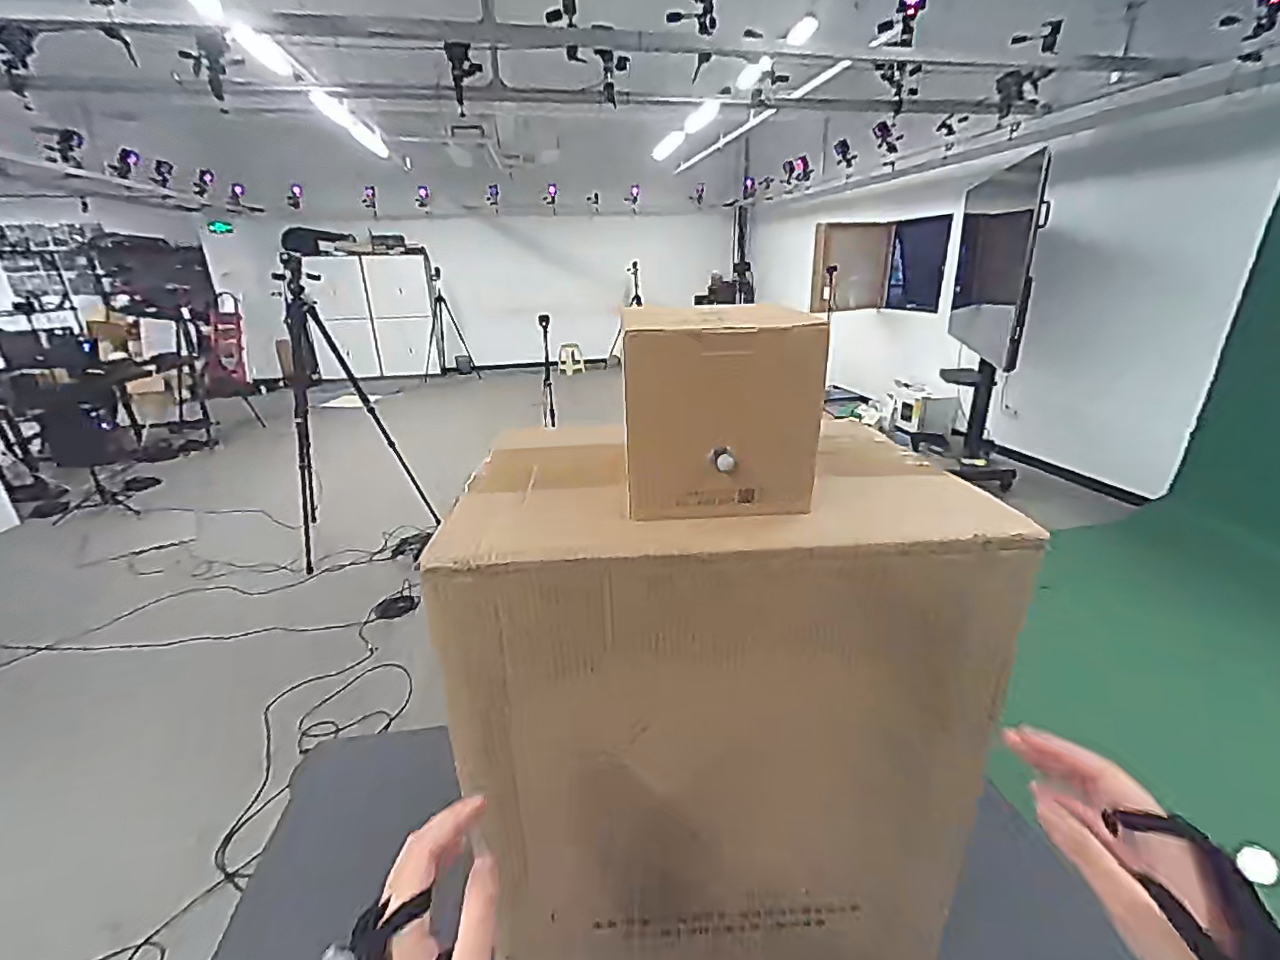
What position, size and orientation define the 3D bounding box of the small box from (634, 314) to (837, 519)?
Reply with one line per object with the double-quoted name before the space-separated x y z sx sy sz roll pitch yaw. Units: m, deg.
"small box" 0.077 -0.072 0.544 0.168 0.176 0.179 -2 23 -2
